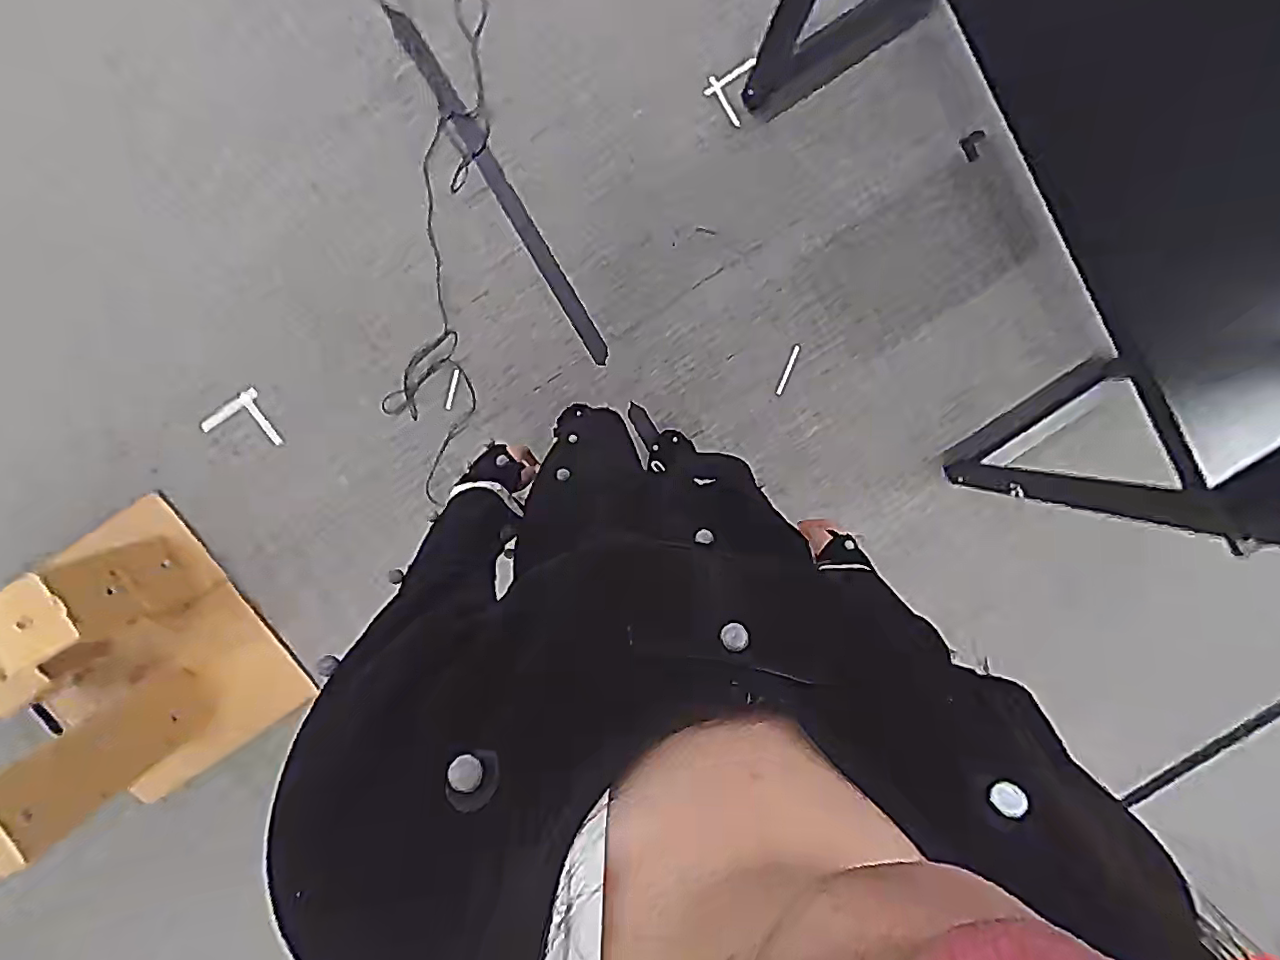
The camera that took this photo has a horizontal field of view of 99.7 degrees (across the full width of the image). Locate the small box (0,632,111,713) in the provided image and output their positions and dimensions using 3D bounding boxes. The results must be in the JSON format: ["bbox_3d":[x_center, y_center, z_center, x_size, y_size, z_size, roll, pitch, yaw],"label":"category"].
[{"bbox_3d":[-1.547,0.446,1.387,0.168,0.176,0.179,-37,98,3],"label":"small box"}]

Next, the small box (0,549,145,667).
[{"bbox_3d":[-1.292,0.279,1.212,0.179,0.176,0.168,-29,98,0],"label":"small box"}]

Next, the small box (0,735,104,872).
[{"bbox_3d":[-1.267,0.663,1.094,0.168,0.176,0.179,-26,98,1],"label":"small box"}]

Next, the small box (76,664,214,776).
[{"bbox_3d":[-1.285,0.623,1.421,0.168,0.176,0.179,-24,99,0],"label":"small box"}]
